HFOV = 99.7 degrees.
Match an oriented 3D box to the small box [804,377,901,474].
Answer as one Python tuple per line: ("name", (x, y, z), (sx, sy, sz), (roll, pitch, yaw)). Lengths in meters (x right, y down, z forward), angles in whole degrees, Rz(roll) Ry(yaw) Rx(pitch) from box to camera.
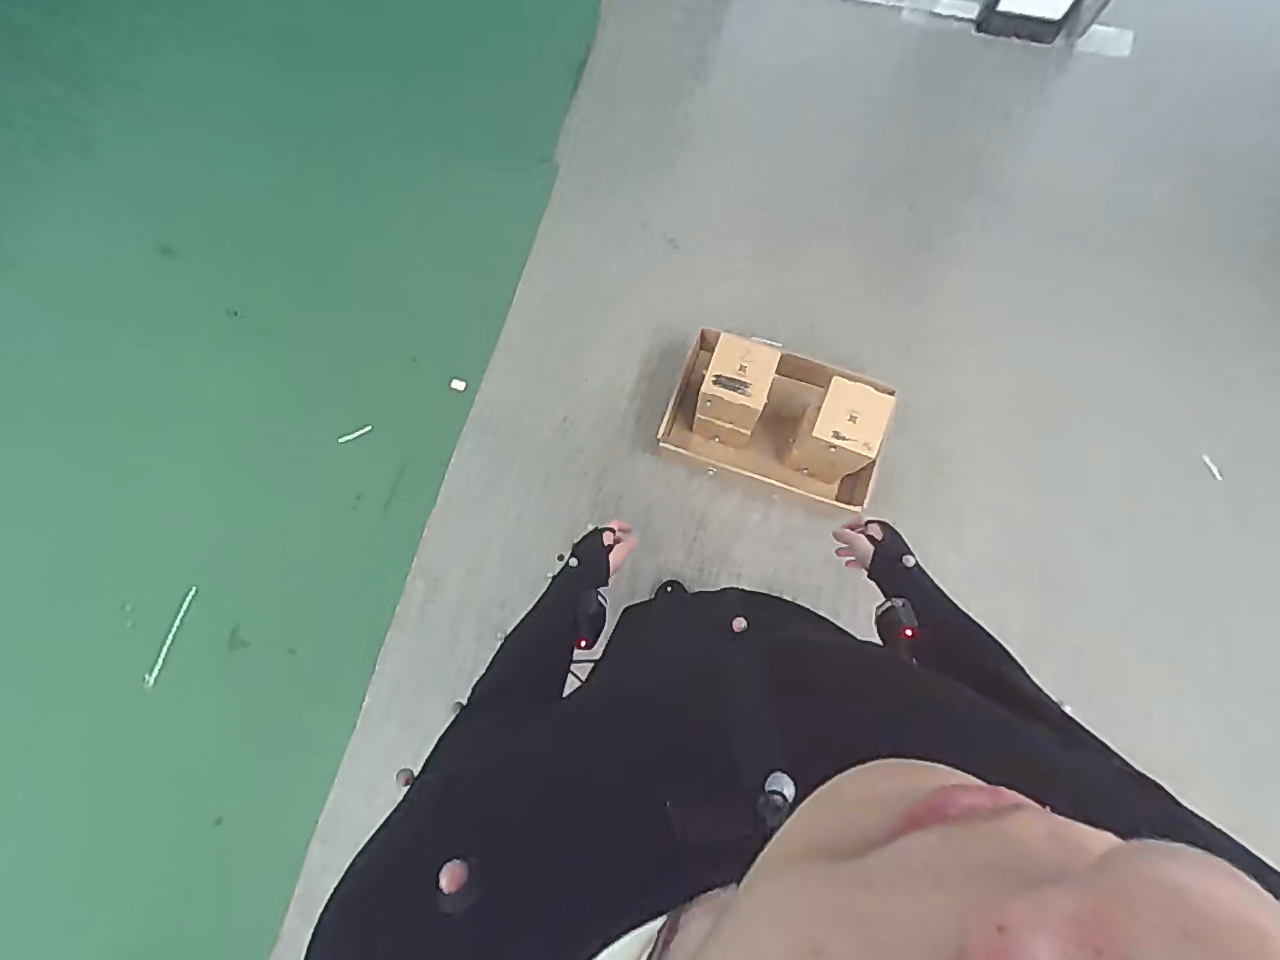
("small box", (0.547, -0.136, 1.414), (0.168, 0.176, 0.179), (22, 79, 7))

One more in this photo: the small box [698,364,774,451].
("small box", (0.278, -0.211, 1.610), (0.168, 0.176, 0.179), (20, 78, 7))

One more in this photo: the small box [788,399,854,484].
("small box", (0.548, -0.107, 1.576), (0.168, 0.176, 0.179), (21, 80, 7))
